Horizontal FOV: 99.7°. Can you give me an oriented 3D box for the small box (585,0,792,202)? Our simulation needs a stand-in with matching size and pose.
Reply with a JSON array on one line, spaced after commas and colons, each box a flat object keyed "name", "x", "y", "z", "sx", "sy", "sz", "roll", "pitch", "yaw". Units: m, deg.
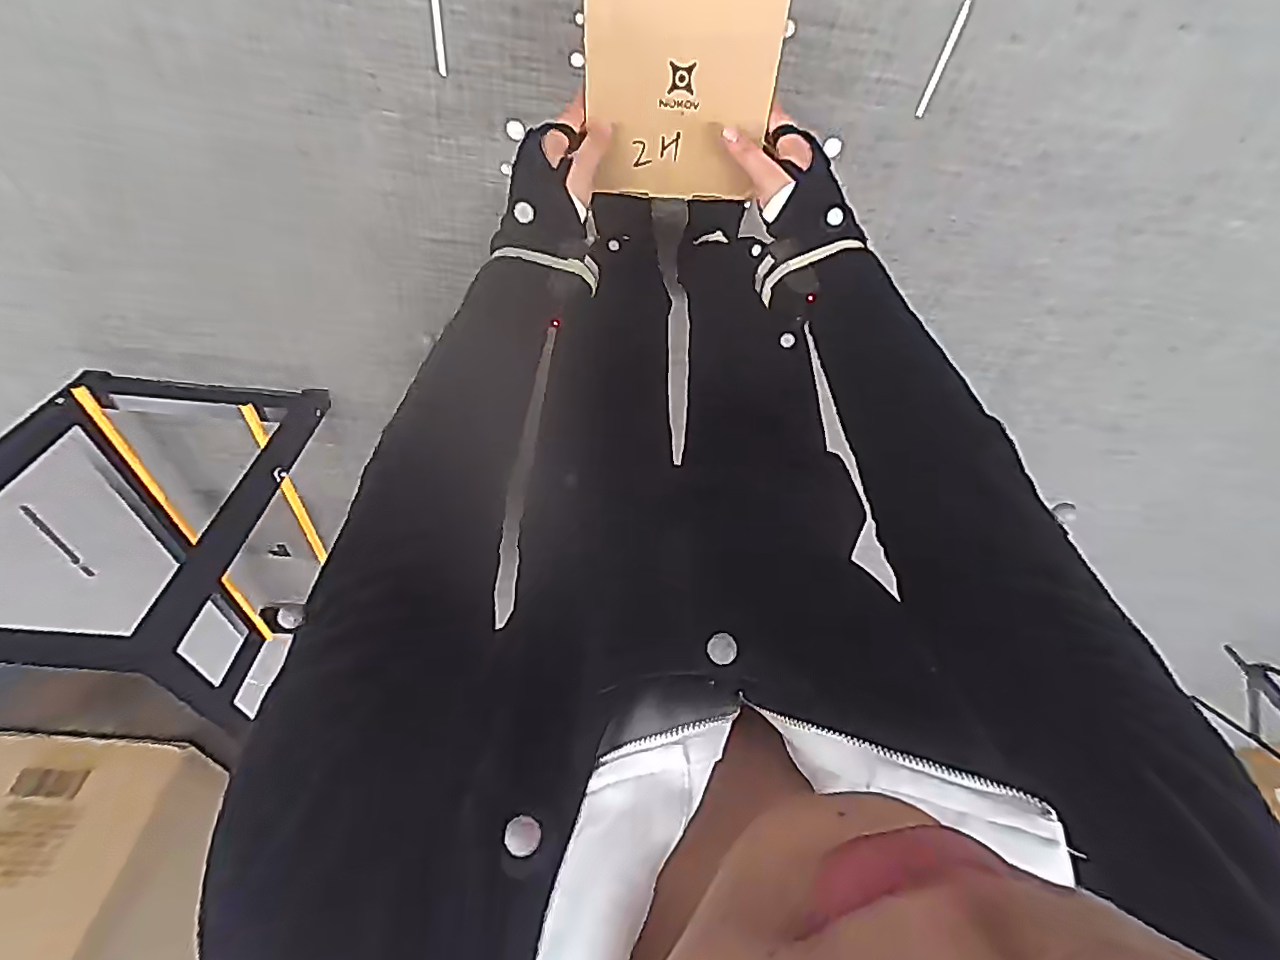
[{"name": "small box", "x": 0.032, "y": -0.392, "z": 0.517, "sx": 0.168, "sy": 0.176, "sz": 0.179, "roll": 2, "pitch": 137, "yaw": -3}]
